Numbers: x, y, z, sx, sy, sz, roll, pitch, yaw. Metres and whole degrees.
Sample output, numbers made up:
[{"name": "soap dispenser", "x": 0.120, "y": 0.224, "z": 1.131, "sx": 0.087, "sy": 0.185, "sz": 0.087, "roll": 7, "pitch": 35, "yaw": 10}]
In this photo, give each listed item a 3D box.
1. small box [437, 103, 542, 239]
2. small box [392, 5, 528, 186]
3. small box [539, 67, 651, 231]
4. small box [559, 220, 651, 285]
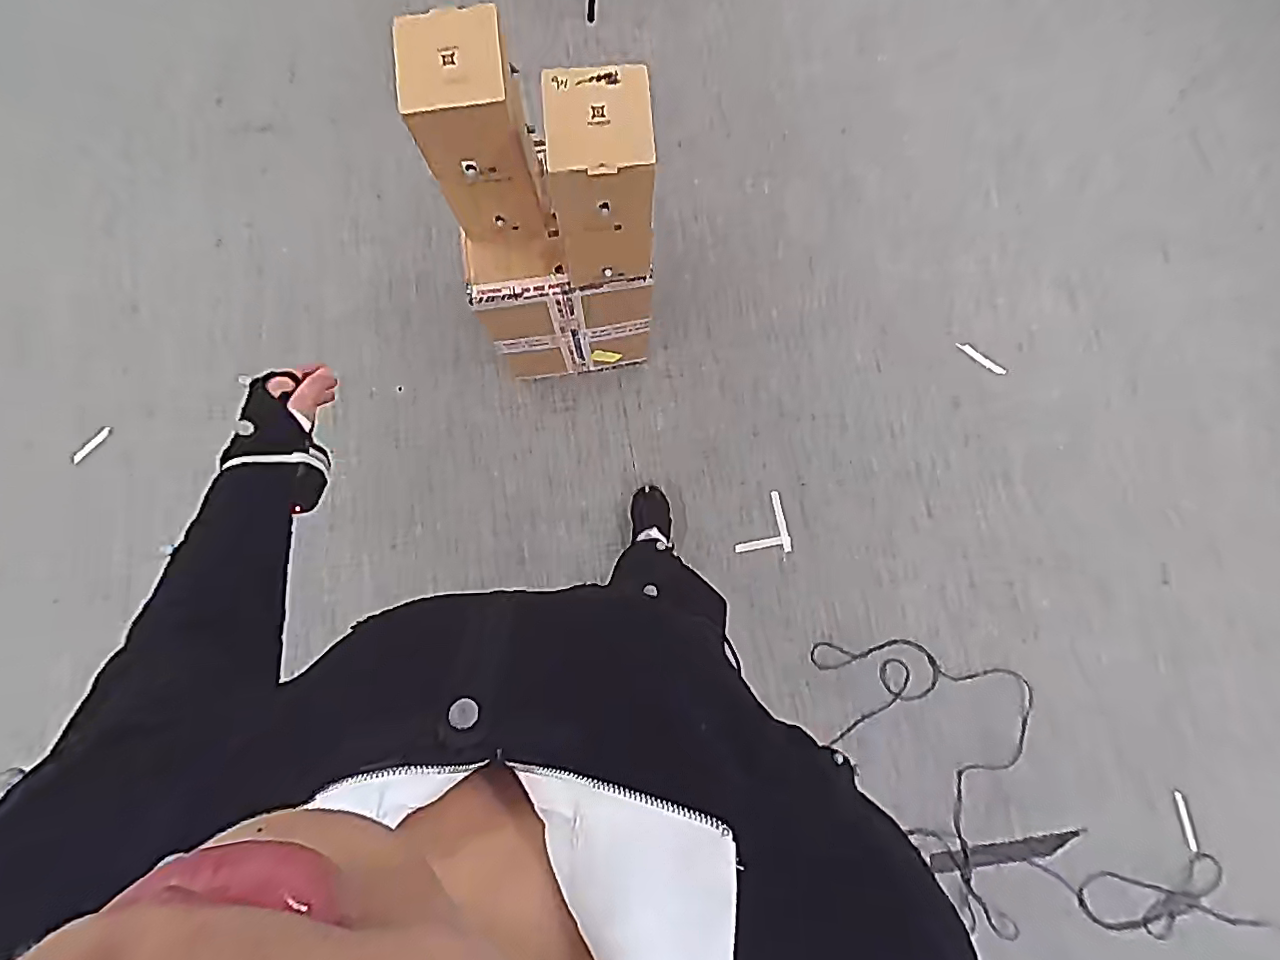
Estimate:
[{"name": "small box", "x": -0.296, "y": -0.612, "z": 1.072, "sx": 0.168, "sy": 0.176, "sz": 0.179, "roll": -8, "pitch": 82, "yaw": -1}, {"name": "small box", "x": -0.294, "y": -0.635, "z": 0.910, "sx": 0.168, "sy": 0.176, "sz": 0.179, "roll": -8, "pitch": 83, "yaw": 0}, {"name": "small box", "x": -0.070, "y": -0.535, "z": 0.900, "sx": 0.168, "sy": 0.176, "sz": 0.179, "roll": -4, "pitch": 83, "yaw": -2}, {"name": "small box", "x": -0.075, "y": -0.512, "z": 1.062, "sx": 0.168, "sy": 0.176, "sz": 0.179, "roll": -8, "pitch": 83, "yaw": -3}]
